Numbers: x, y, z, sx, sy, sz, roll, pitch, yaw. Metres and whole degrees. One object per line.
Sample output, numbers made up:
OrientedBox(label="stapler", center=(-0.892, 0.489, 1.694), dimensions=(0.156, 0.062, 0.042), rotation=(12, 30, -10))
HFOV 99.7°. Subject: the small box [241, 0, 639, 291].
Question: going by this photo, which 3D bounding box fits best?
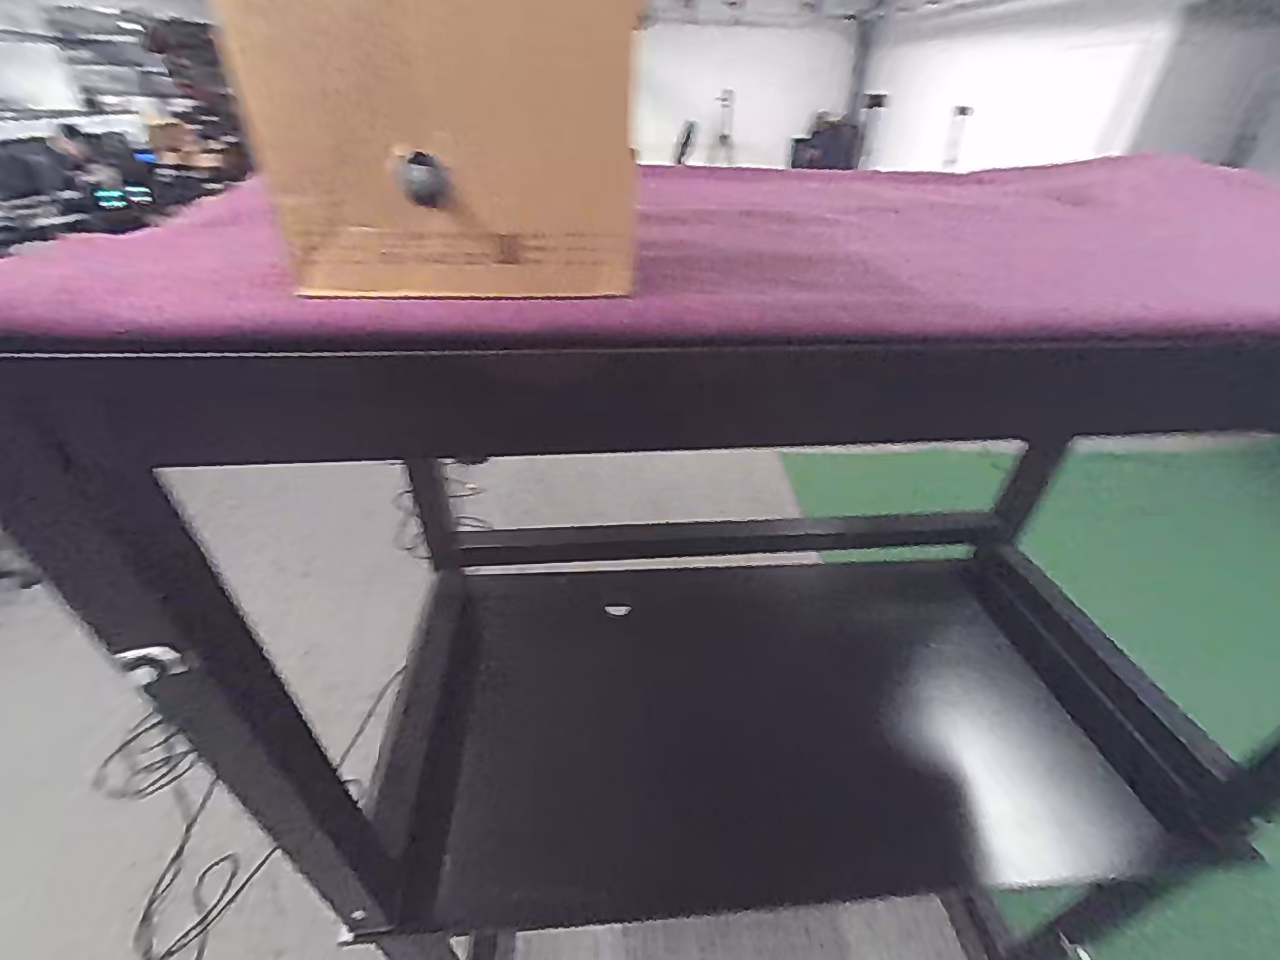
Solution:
OrientedBox(label="small box", center=(-0.094, -0.214, 0.302), dimensions=(0.168, 0.176, 0.179), rotation=(-3, 34, -8))
